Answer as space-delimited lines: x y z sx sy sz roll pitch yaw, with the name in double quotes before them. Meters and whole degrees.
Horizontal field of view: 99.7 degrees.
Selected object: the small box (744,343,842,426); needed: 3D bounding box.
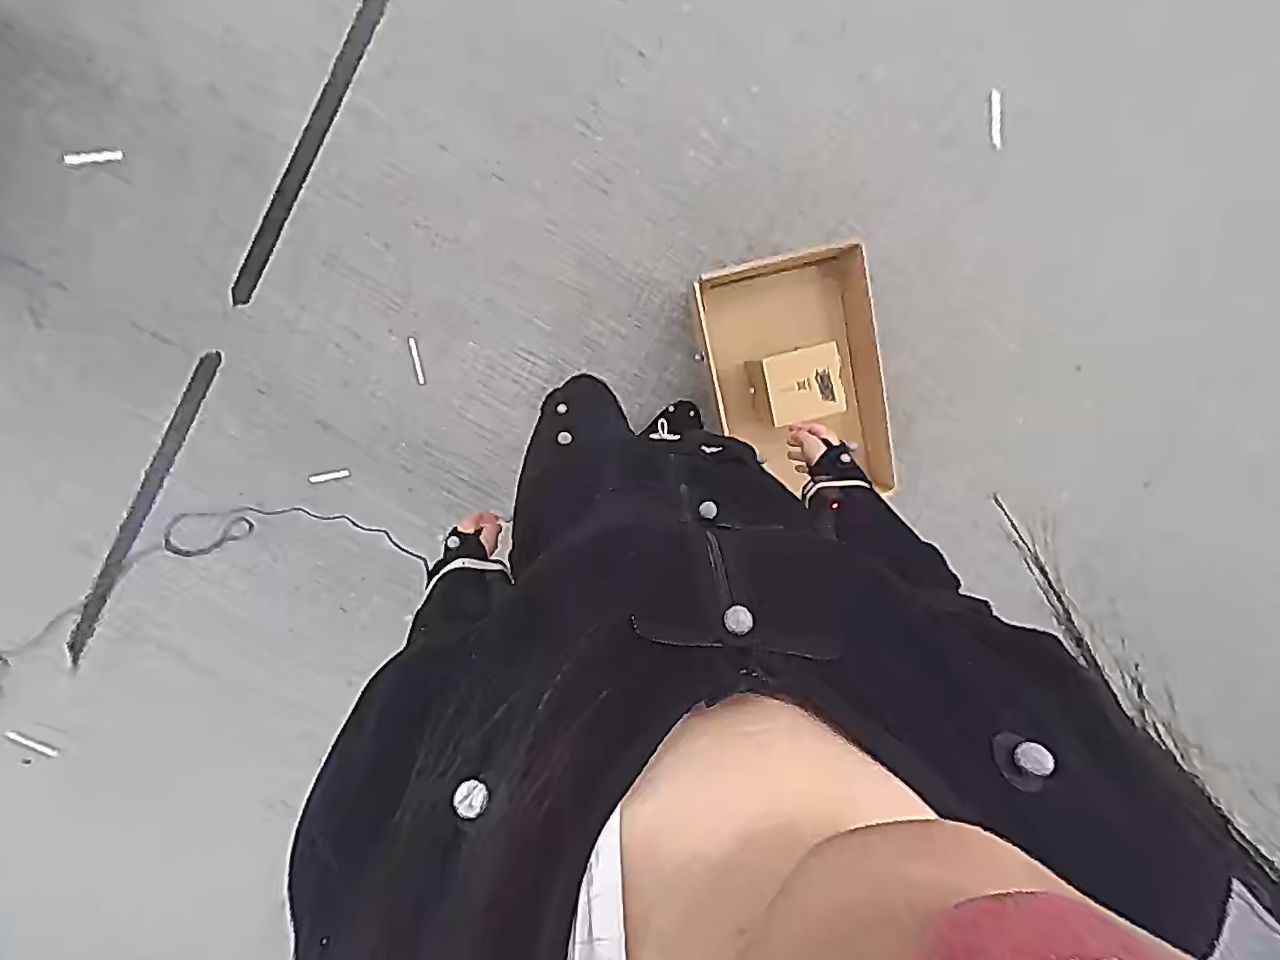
"small box" 0.374 -0.241 1.341 0.179 0.176 0.168 -13 102 1
